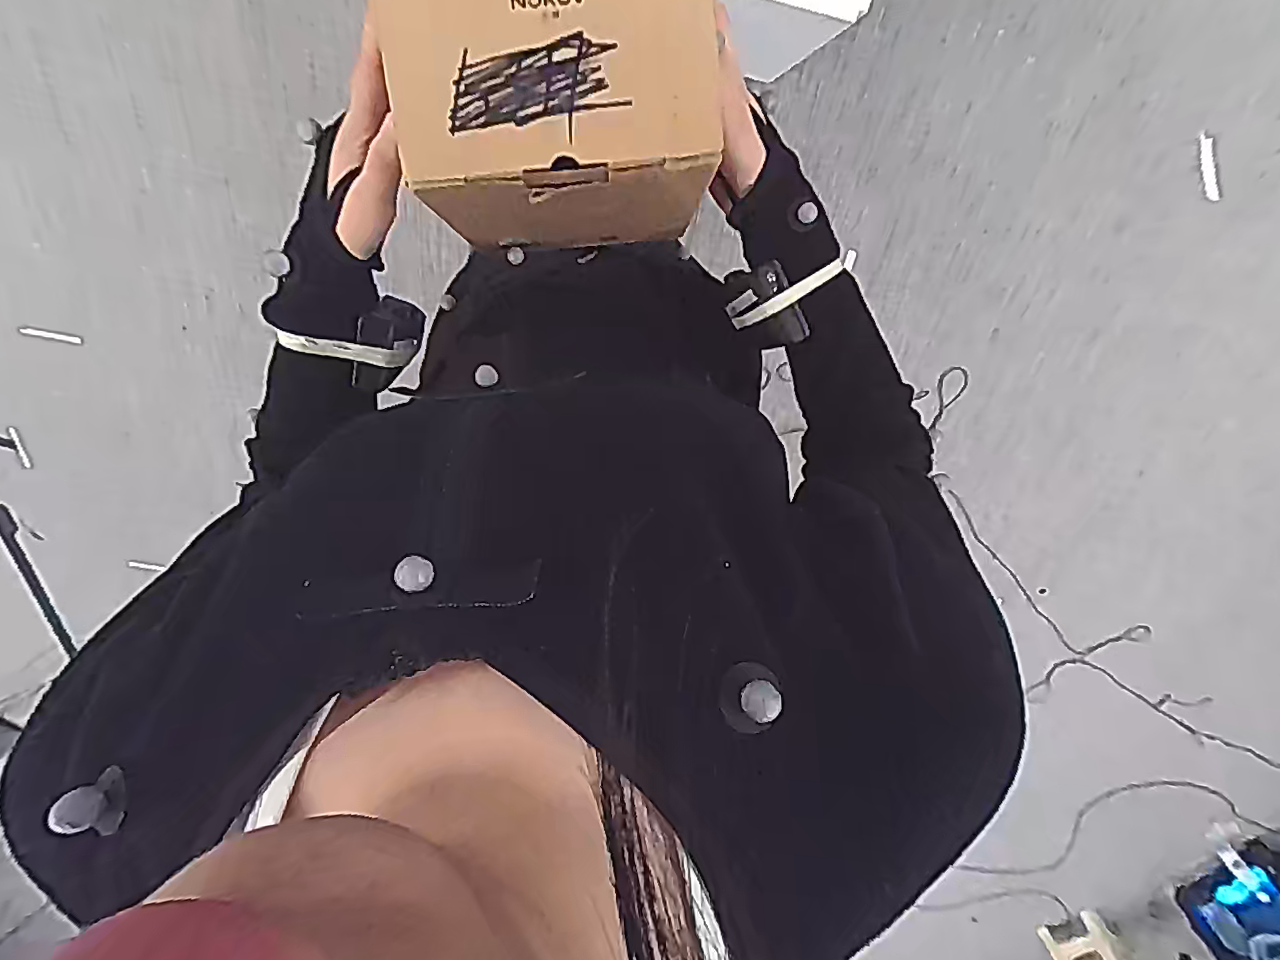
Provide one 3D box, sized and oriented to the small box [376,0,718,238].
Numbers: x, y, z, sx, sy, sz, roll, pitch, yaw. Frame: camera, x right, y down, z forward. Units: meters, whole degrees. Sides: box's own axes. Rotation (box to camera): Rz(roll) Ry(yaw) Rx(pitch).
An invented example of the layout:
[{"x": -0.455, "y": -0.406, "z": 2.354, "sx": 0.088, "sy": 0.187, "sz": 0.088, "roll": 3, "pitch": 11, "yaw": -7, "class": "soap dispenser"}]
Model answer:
[{"x": -0.050, "y": -0.262, "z": 0.338, "sx": 0.168, "sy": 0.176, "sz": 0.179, "roll": -6, "pitch": 100, "yaw": -2, "class": "small box"}]
